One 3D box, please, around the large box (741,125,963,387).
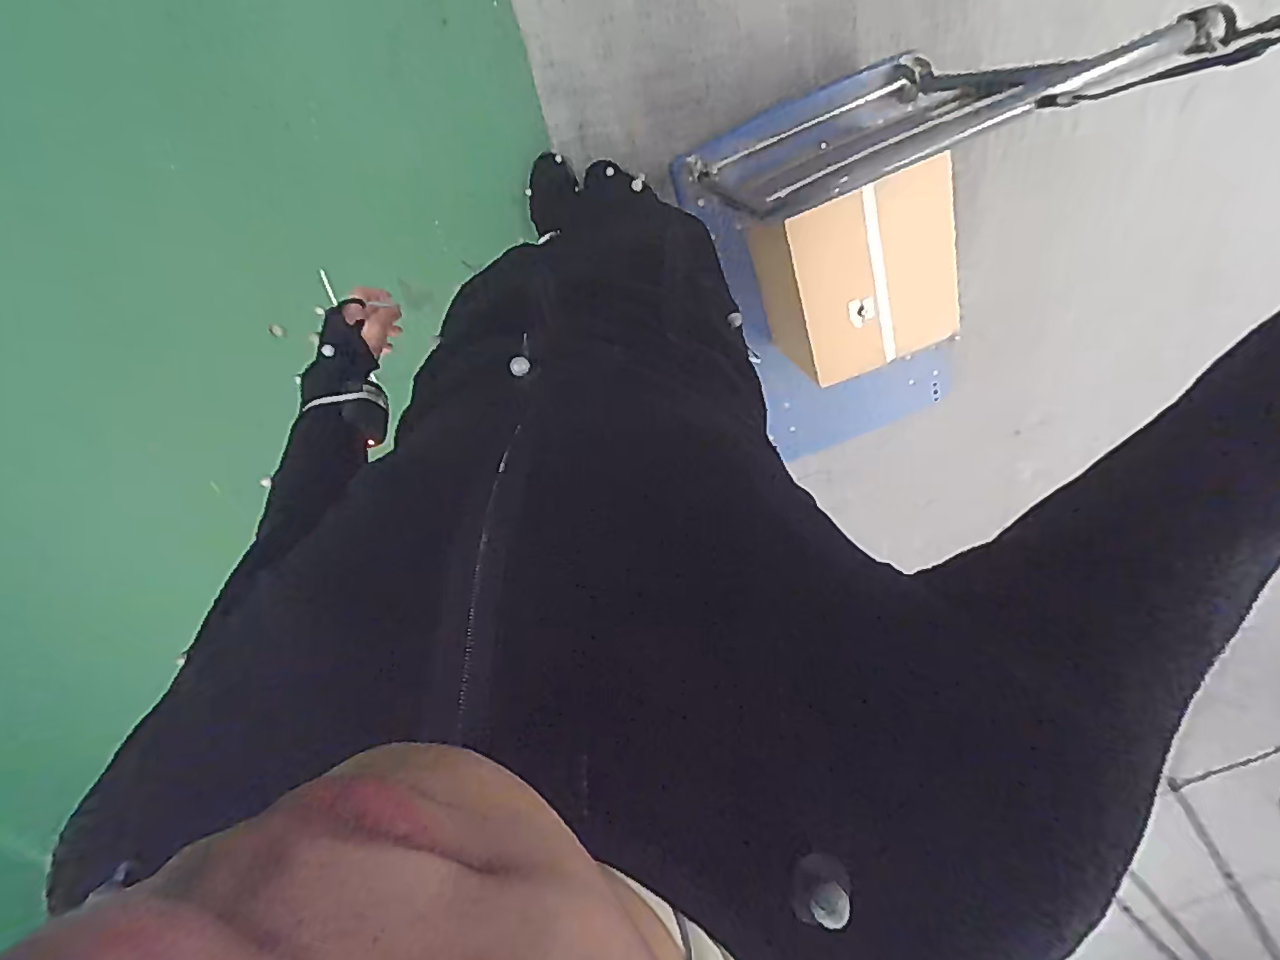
[{"bbox_3d":[0.450,-0.482,1.170,0.320,0.320,0.408,-20,123,6],"label":"large box"}]
